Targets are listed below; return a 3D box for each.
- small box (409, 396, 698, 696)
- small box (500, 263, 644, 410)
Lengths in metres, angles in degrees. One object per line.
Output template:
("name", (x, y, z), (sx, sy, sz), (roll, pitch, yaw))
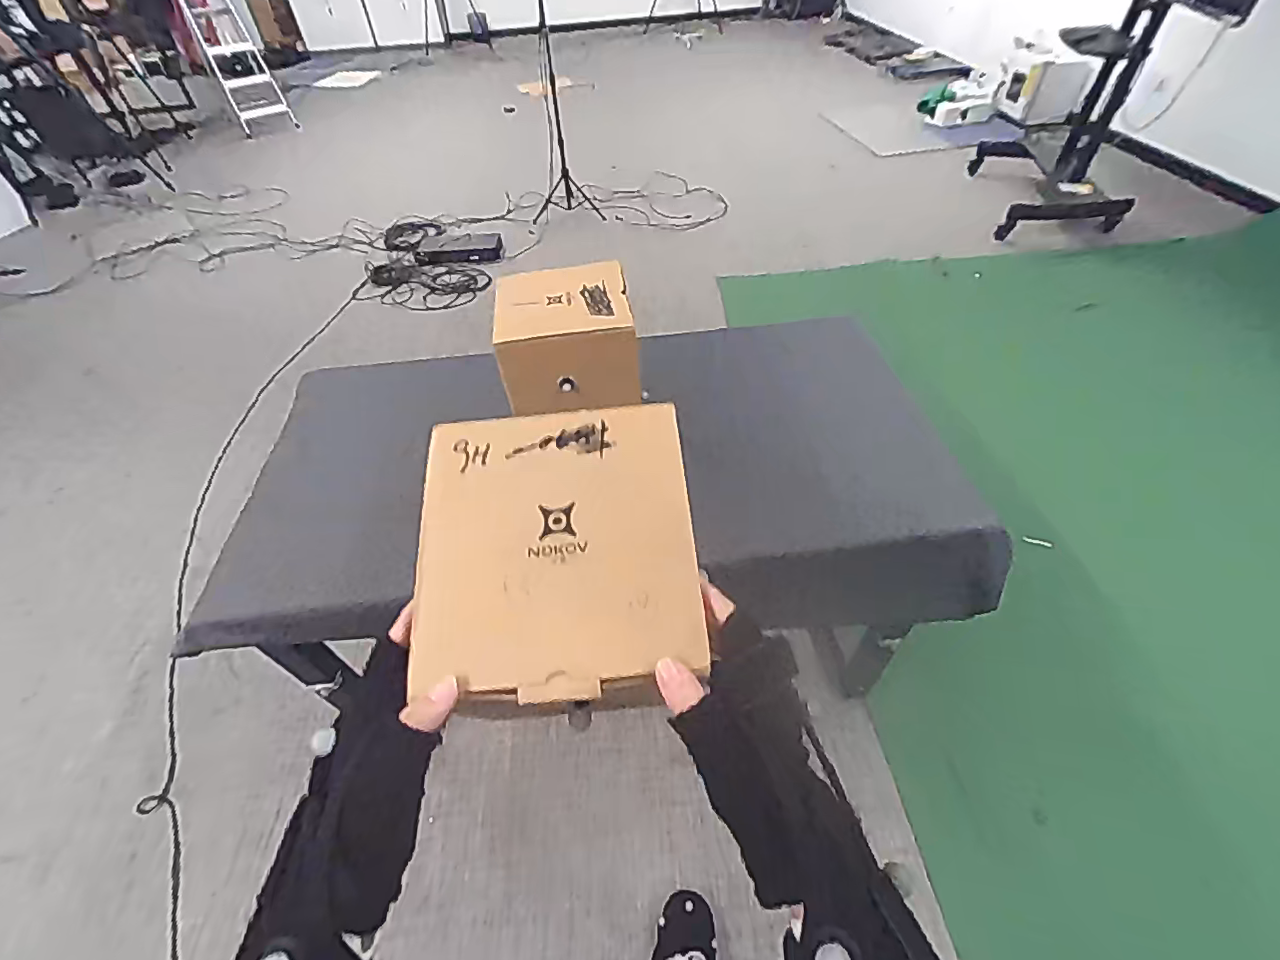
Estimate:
("small box", (-0.050, 0.062, 0.402), (0.168, 0.176, 0.179), (-5, 65, 0))
("small box", (-0.093, -0.178, 0.761), (0.179, 0.176, 0.168), (-9, 49, -5))
